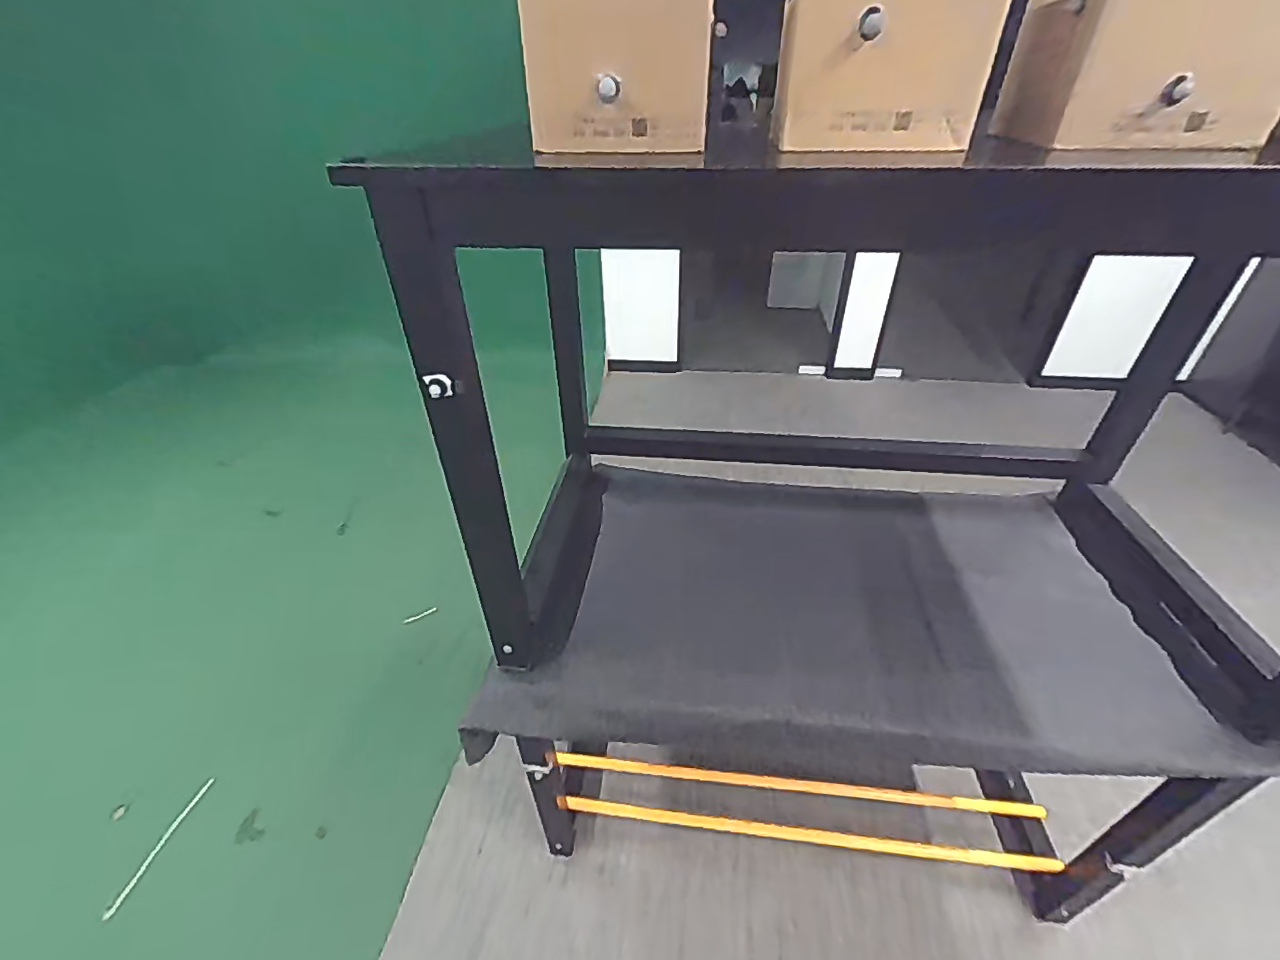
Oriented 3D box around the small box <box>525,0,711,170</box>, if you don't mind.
[{"bbox_3d":[-0.015,-0.424,0.550,0.168,0.176,0.179,3,37,5],"label":"small box"}]
